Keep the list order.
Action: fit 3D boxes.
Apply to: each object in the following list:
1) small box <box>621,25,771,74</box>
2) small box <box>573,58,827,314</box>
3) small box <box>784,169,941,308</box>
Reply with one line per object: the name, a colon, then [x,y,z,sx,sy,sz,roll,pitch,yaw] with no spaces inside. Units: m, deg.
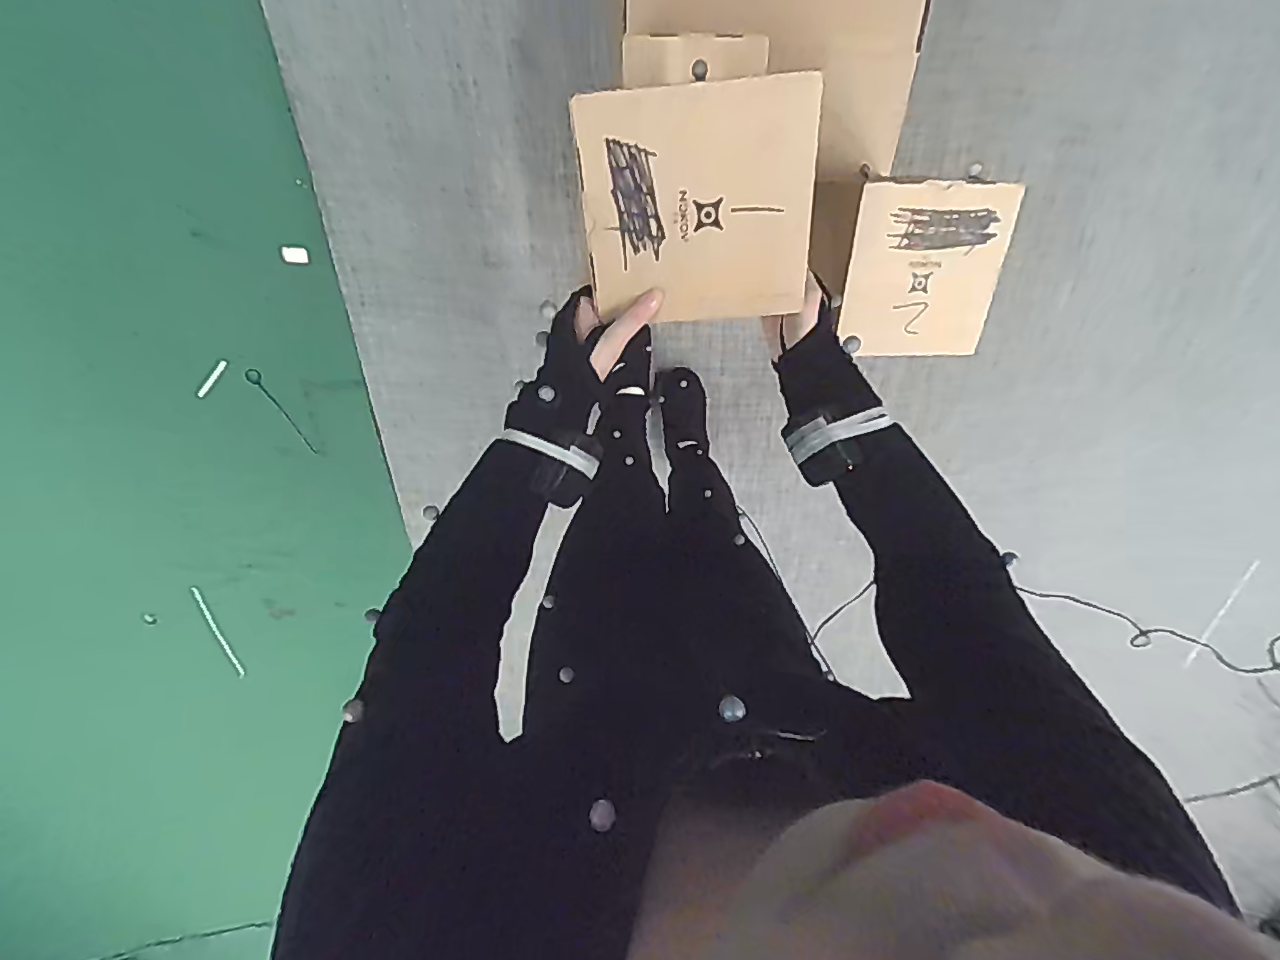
small box: [0.059,-0.455,0.700,0.168,0.176,0.179,-1,119,-2]
small box: [0.047,-0.256,0.477,0.179,0.176,0.168,-3,125,3]
small box: [0.284,-0.348,0.772,0.179,0.176,0.168,-2,119,-2]
